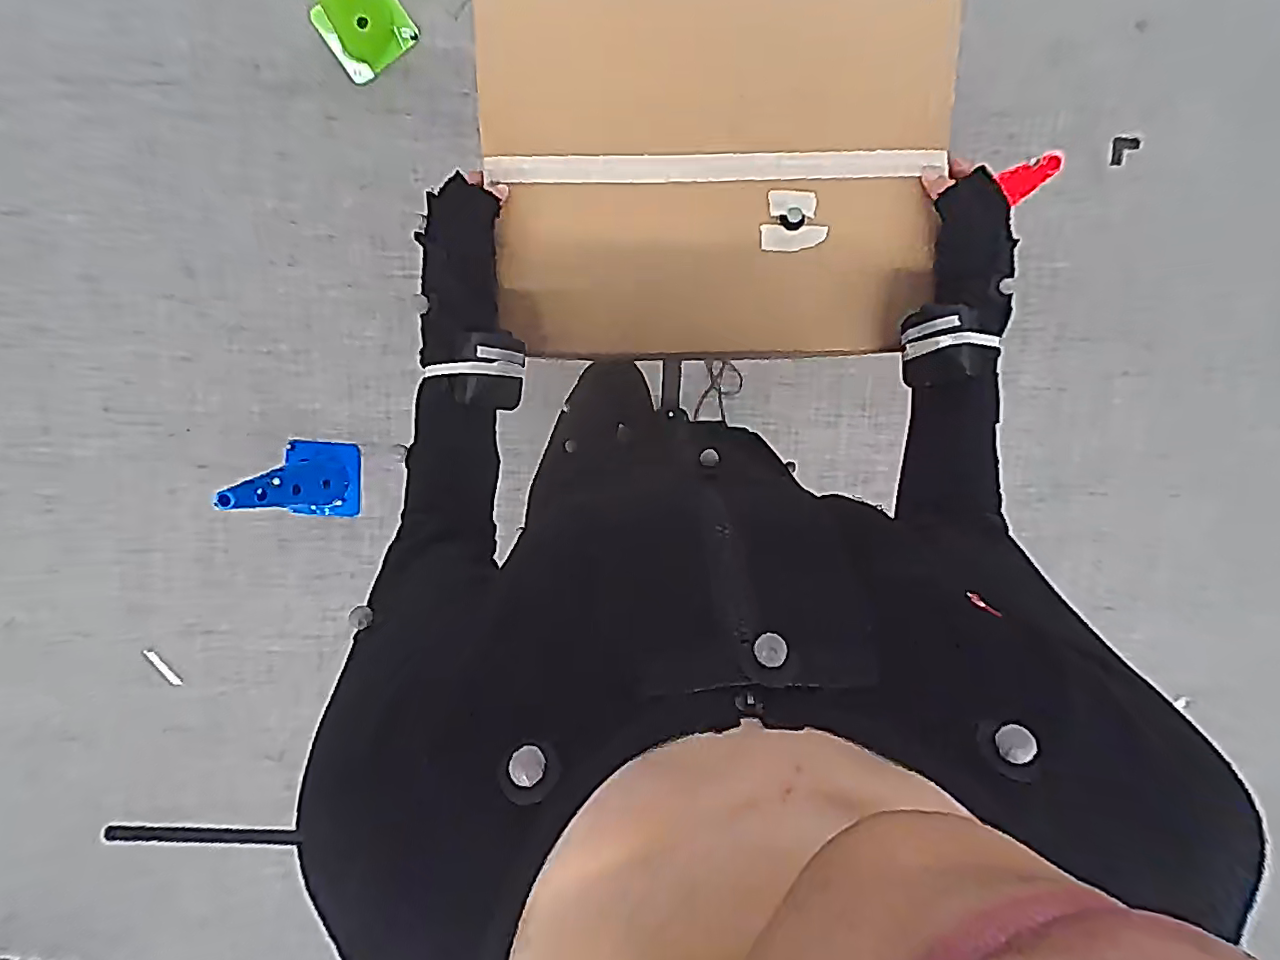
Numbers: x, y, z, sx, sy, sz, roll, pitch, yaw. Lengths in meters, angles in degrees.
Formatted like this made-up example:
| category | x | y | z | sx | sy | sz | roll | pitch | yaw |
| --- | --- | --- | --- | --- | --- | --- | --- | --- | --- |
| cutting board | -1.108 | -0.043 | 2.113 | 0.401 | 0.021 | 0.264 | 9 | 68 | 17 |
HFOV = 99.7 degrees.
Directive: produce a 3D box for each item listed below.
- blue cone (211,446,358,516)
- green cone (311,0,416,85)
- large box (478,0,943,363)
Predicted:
| category | x | y | z | sx | sy | sz | roll | pitch | yaw |
| --- | --- | --- | --- | --- | --- | --- | --- | --- | --- |
| blue cone | -0.864 | 0.024 | 1.307 | 0.192 | 0.380 | 0.193 | 5 | 97 | 0 |
| green cone | -0.675 | -1.080 | 1.147 | 0.202 | 0.368 | 0.200 | -35 | 96 | 5 |
| large box | 0.060 | -0.305 | 0.627 | 0.408 | 0.320 | 0.320 | -1 | 101 | -1 |
